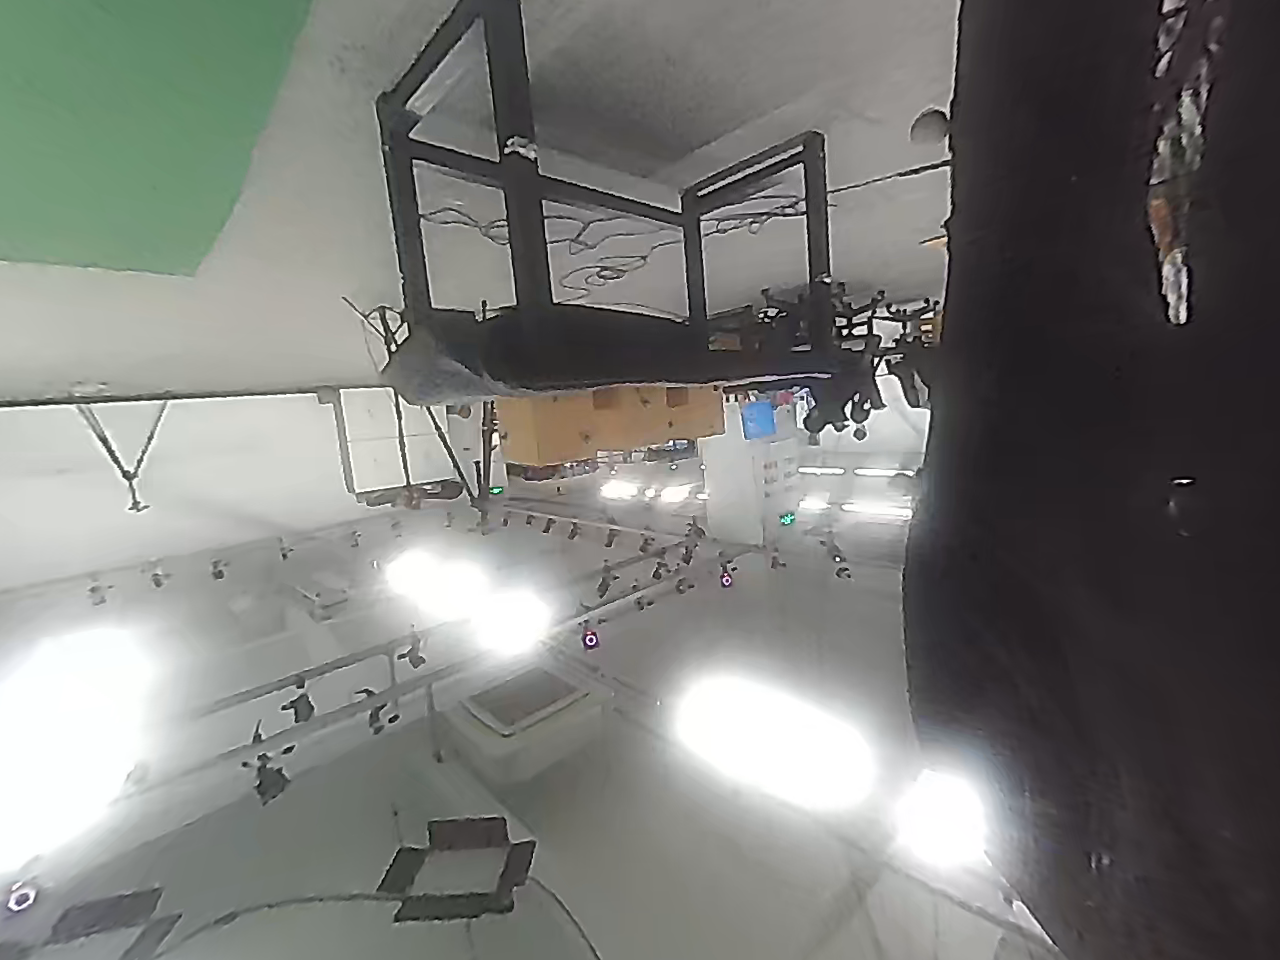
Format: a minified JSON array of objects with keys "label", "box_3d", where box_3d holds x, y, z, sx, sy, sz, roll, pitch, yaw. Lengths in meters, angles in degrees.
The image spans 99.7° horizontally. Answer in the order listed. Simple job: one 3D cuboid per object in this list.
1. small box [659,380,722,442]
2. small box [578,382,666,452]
[{"label":"small box","box_3d":[0.123,-0.207,1.603,0.179,0.176,0.168,4,-168,44]},{"label":"small box","box_3d":[-0.050,-0.169,1.439,0.168,0.176,0.179,-13,-169,-42]}]
